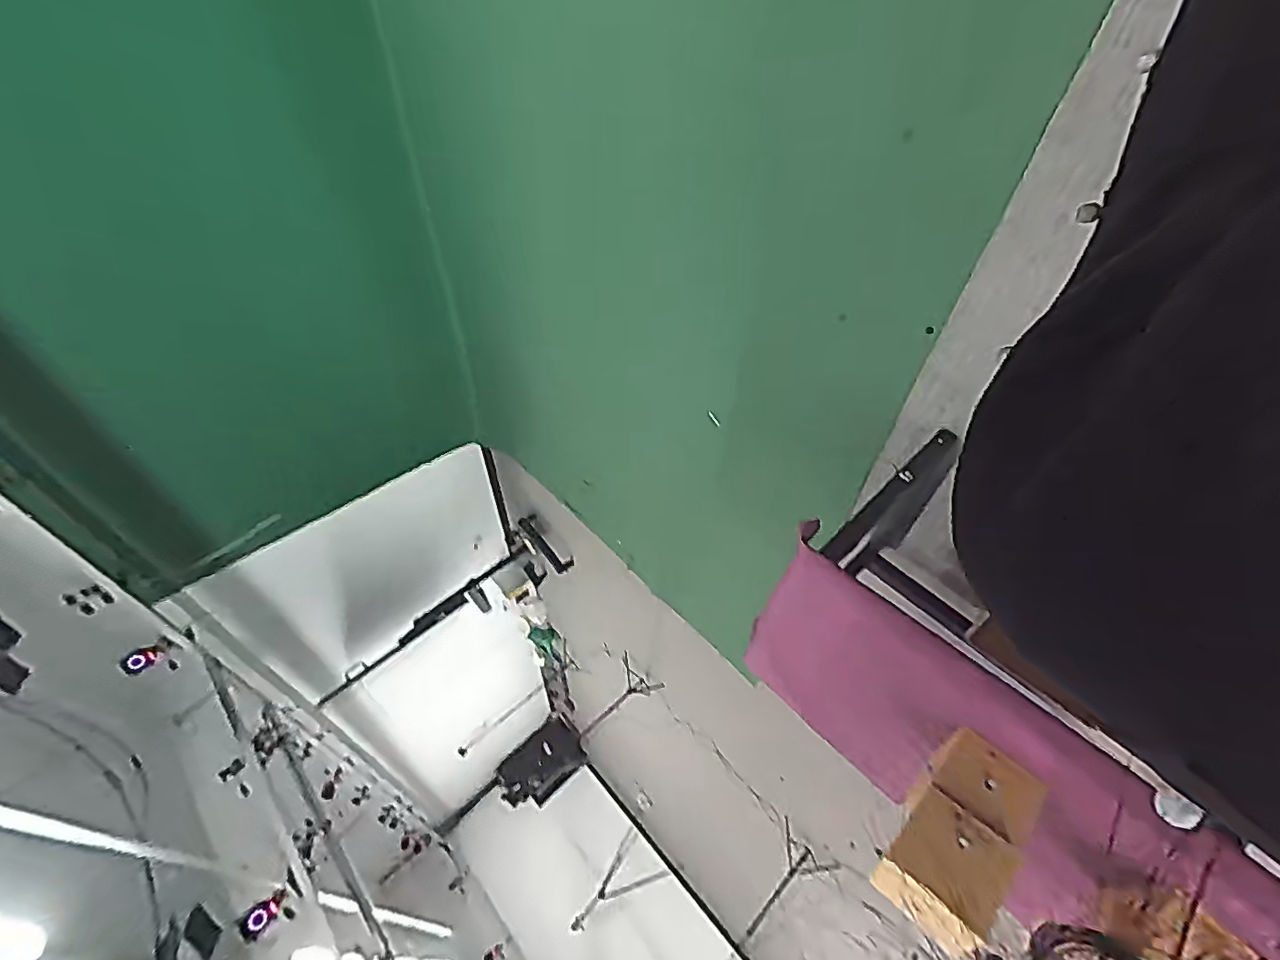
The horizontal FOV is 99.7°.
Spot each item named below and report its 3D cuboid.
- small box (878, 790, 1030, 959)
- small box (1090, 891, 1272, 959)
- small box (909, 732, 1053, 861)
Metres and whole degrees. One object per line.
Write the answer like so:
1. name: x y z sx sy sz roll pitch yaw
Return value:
1. small box: 0.565 0.712 0.981 0.168 0.176 0.179 32 144 36
2. small box: 0.925 0.840 0.913 0.168 0.176 0.179 41 147 27
3. small box: 0.681 0.642 1.079 0.168 0.176 0.179 37 147 31
